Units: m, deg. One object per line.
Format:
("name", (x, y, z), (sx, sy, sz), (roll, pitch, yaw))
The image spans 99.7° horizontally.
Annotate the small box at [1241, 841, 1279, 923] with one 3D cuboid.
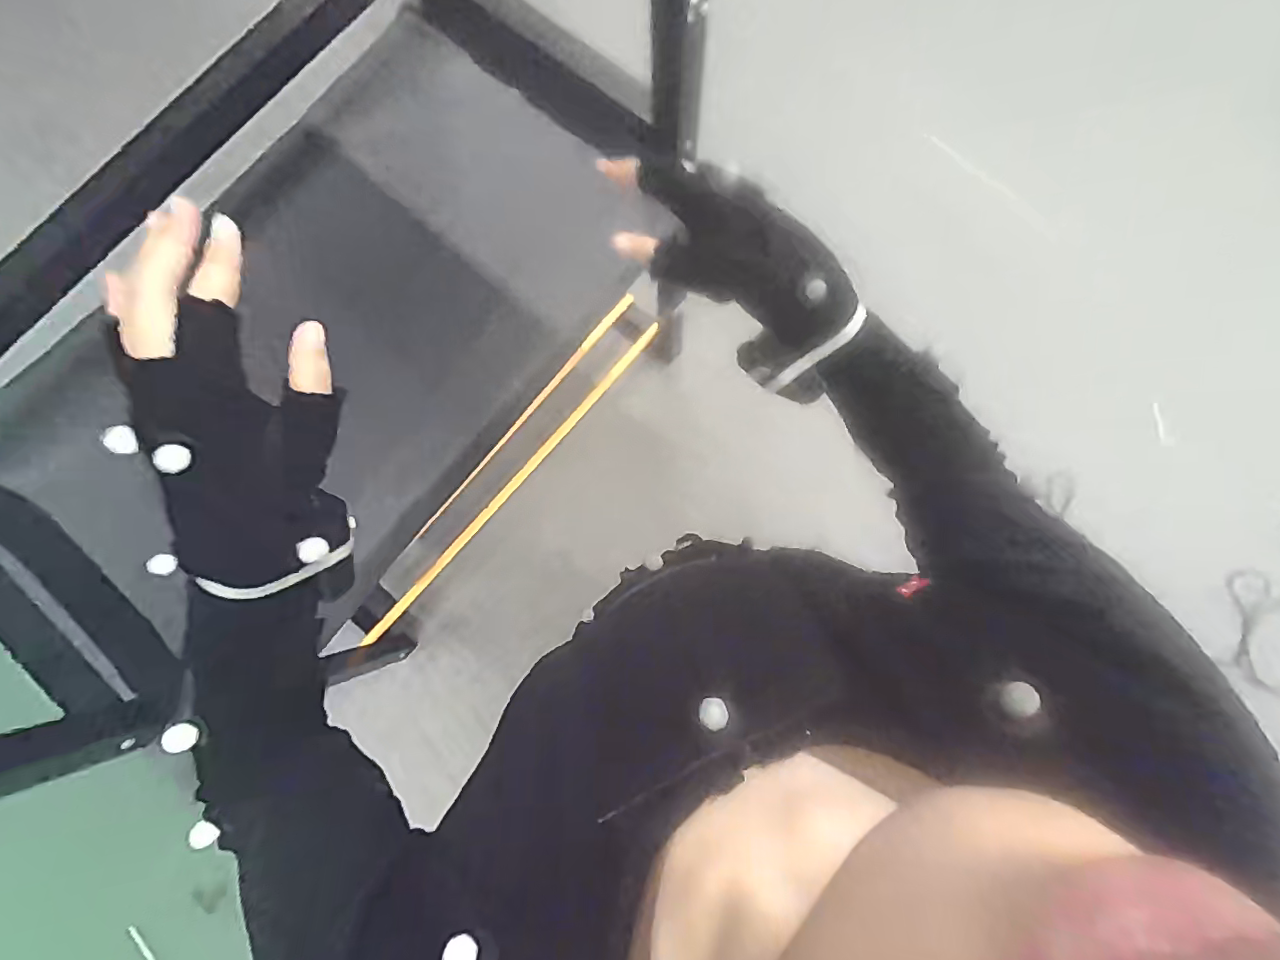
("small box", (1.565, 0.970, 1.233), (0.179, 0.176, 0.168), (44, 85, 8))
